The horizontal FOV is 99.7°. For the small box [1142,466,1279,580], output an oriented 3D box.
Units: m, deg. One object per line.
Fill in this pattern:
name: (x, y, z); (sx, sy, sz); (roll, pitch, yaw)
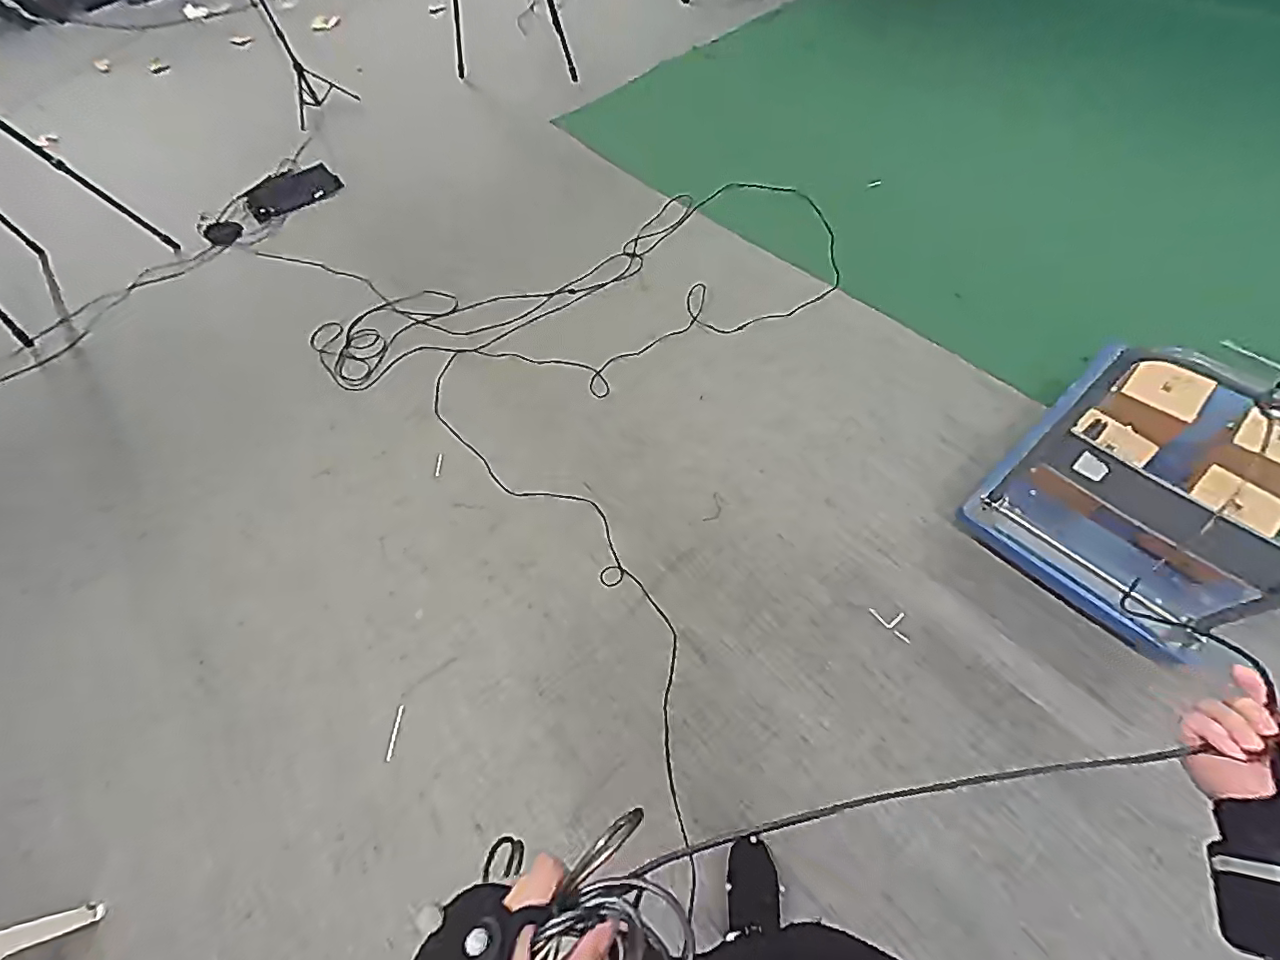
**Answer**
small box: (1.372, 0.105, 1.293); (0.179, 0.176, 0.168); (-39, 62, -15)

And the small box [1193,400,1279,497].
small box: (1.572, -0.061, 1.366); (0.168, 0.176, 0.179); (38, 71, 27)

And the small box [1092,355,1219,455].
small box: (1.393, -0.199, 1.476); (0.168, 0.176, 0.179); (38, 70, 25)
